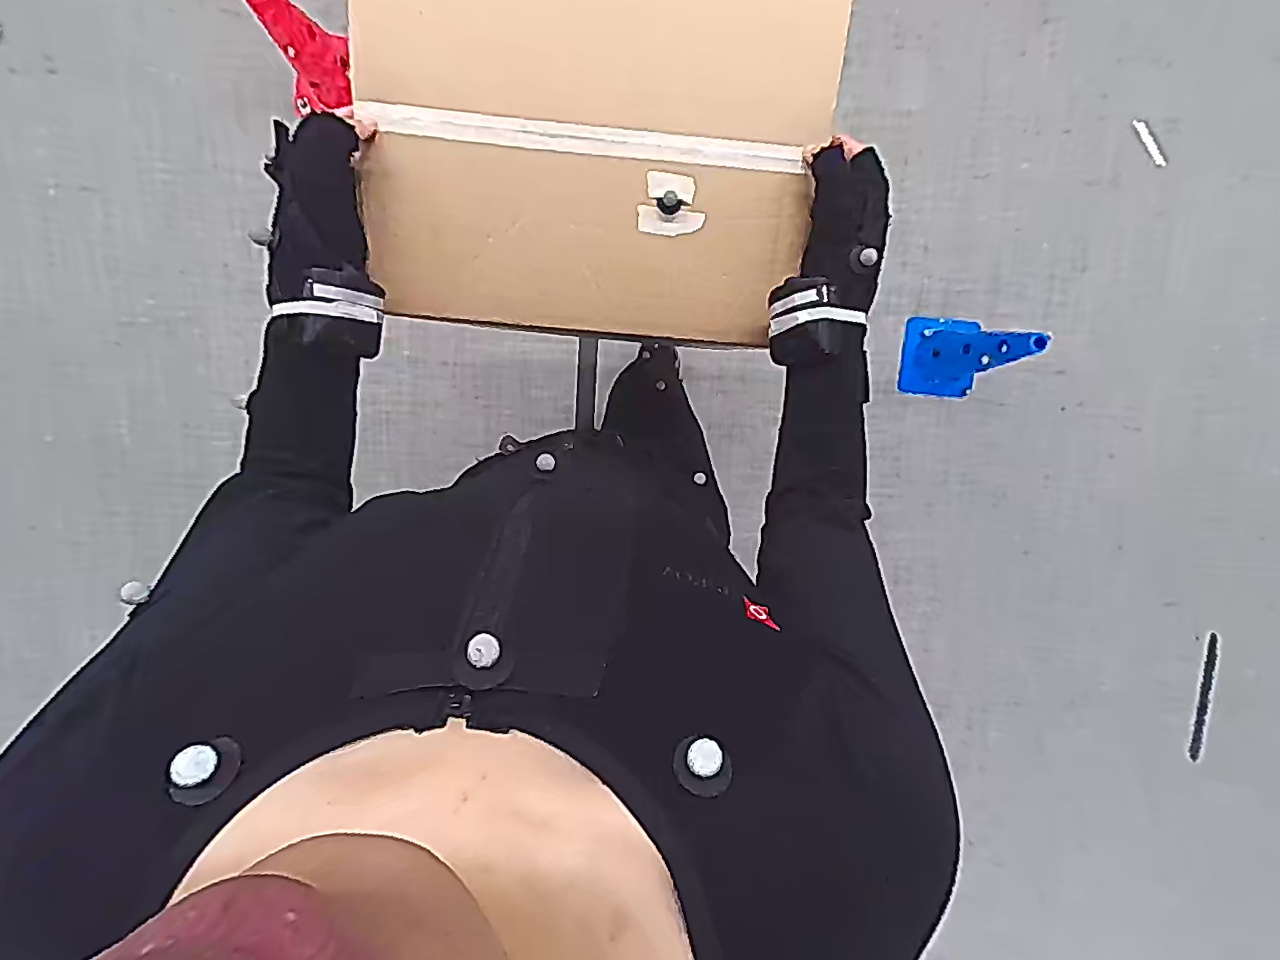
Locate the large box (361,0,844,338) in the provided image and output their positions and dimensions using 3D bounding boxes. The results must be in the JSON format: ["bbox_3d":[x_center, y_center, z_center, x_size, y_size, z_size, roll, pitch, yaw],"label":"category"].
[{"bbox_3d":[-0.043,-0.338,0.611,0.408,0.320,0.320,4,103,-4],"label":"large box"}]

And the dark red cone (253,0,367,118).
[{"bbox_3d":[-0.728,-0.956,1.120,0.201,0.394,0.202,8,98,-3],"label":"dark red cone"}]

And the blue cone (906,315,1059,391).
[{"bbox_3d":[0.807,-0.312,1.266,0.192,0.380,0.193,6,98,-3],"label":"blue cone"}]
